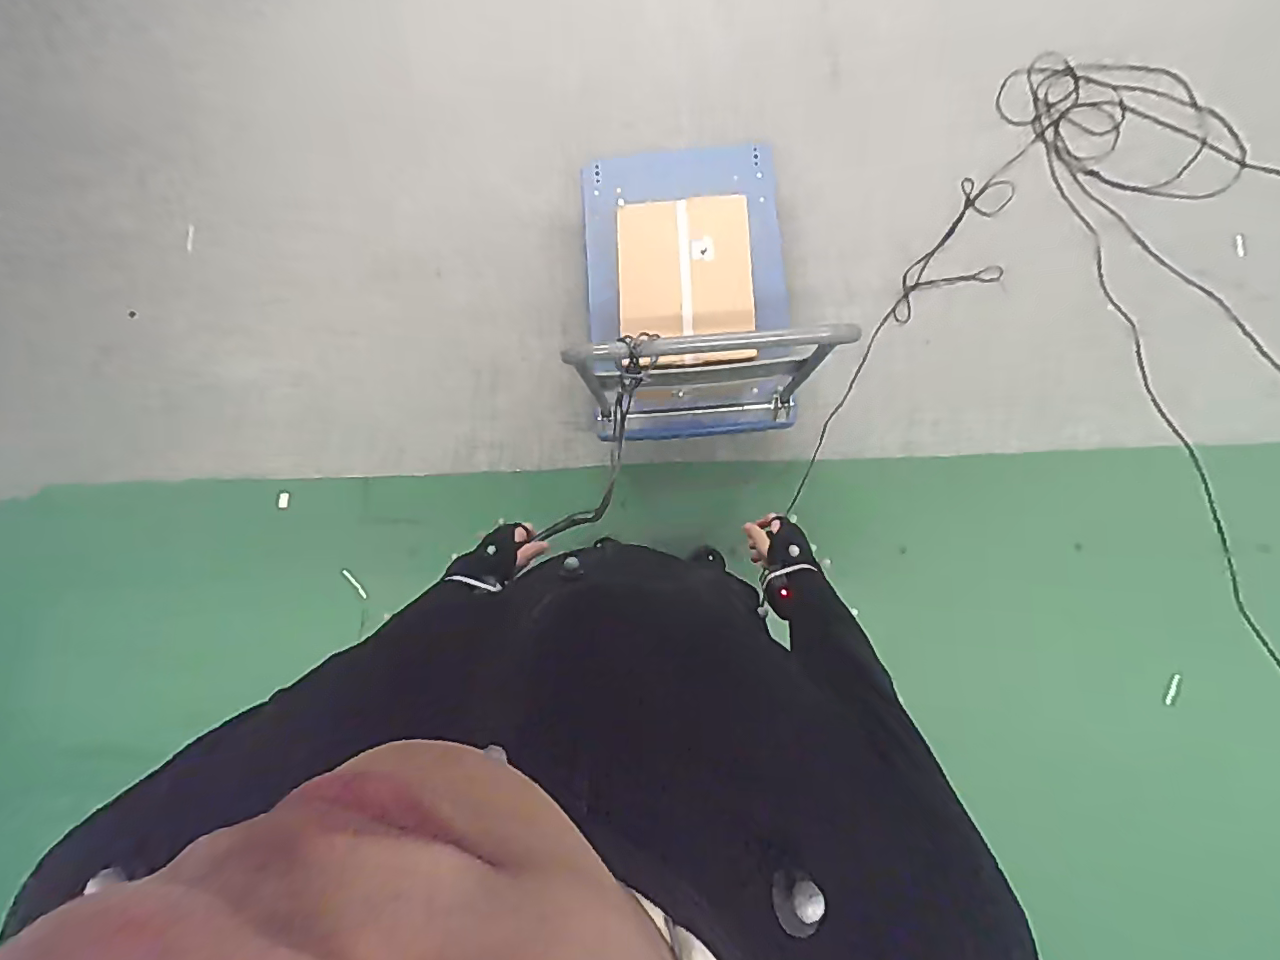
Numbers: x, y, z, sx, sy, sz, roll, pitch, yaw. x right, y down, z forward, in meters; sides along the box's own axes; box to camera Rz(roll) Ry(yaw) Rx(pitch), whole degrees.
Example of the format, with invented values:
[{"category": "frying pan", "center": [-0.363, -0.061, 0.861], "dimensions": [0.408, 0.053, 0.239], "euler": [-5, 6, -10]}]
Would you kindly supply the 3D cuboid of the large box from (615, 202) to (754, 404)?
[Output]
[{"category": "large box", "center": [0.113, -0.442, 1.422], "dimensions": [0.320, 0.320, 0.408], "euler": [-2, 81, 3]}]
